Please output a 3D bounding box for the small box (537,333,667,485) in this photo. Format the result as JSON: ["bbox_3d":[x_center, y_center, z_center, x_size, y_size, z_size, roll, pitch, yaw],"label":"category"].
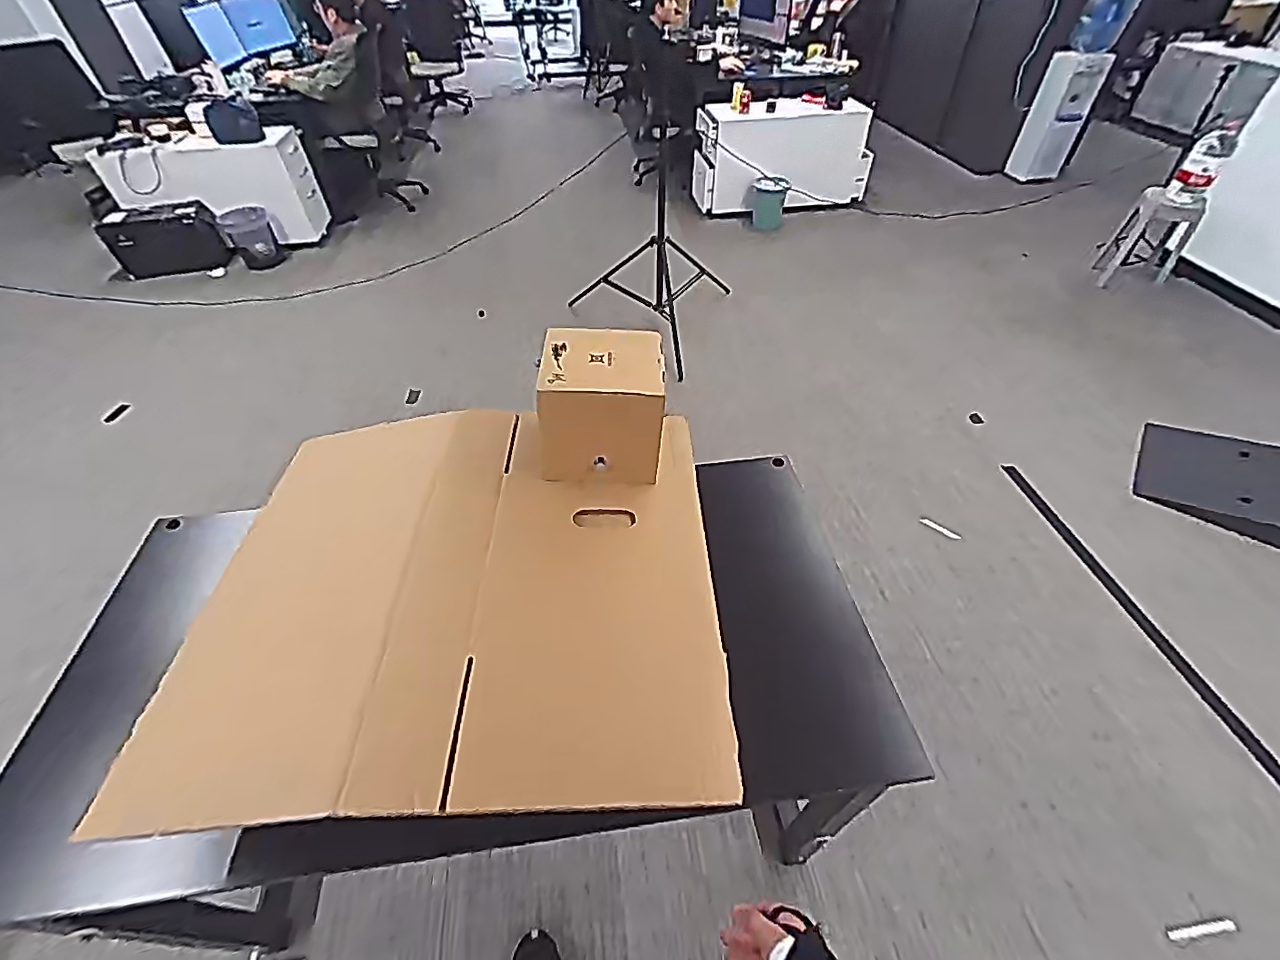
[{"bbox_3d":[-0.058,-0.106,0.835,0.179,0.176,0.168,2,44,-4],"label":"small box"}]
